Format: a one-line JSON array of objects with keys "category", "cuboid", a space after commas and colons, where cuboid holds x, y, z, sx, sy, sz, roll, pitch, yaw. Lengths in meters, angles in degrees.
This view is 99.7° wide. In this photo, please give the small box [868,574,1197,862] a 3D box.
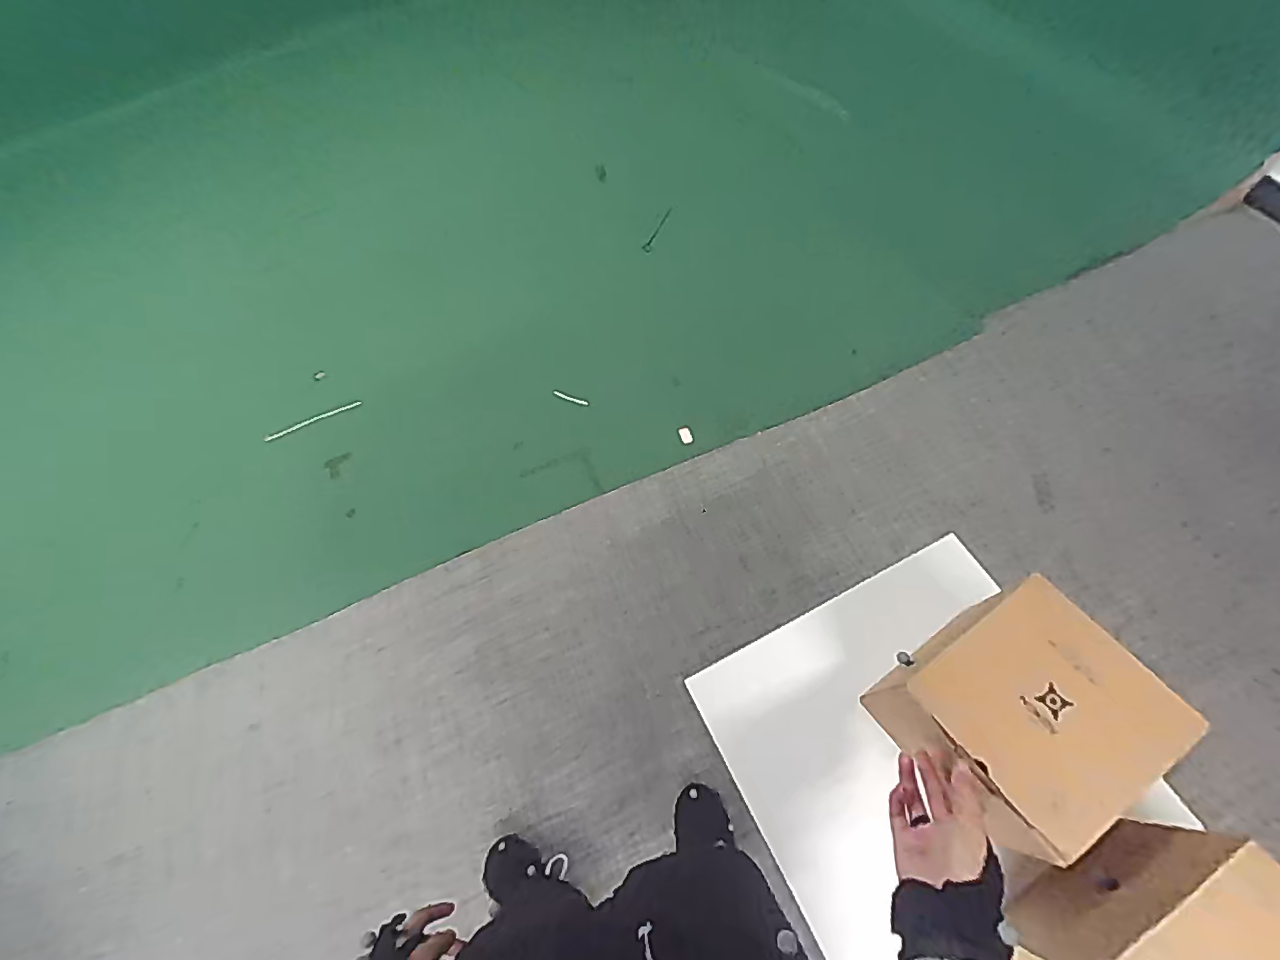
[{"category": "small box", "cuboid": [0.354, 0.227, 0.534, 0.179, 0.176, 0.168, -35, 67, -11]}]
